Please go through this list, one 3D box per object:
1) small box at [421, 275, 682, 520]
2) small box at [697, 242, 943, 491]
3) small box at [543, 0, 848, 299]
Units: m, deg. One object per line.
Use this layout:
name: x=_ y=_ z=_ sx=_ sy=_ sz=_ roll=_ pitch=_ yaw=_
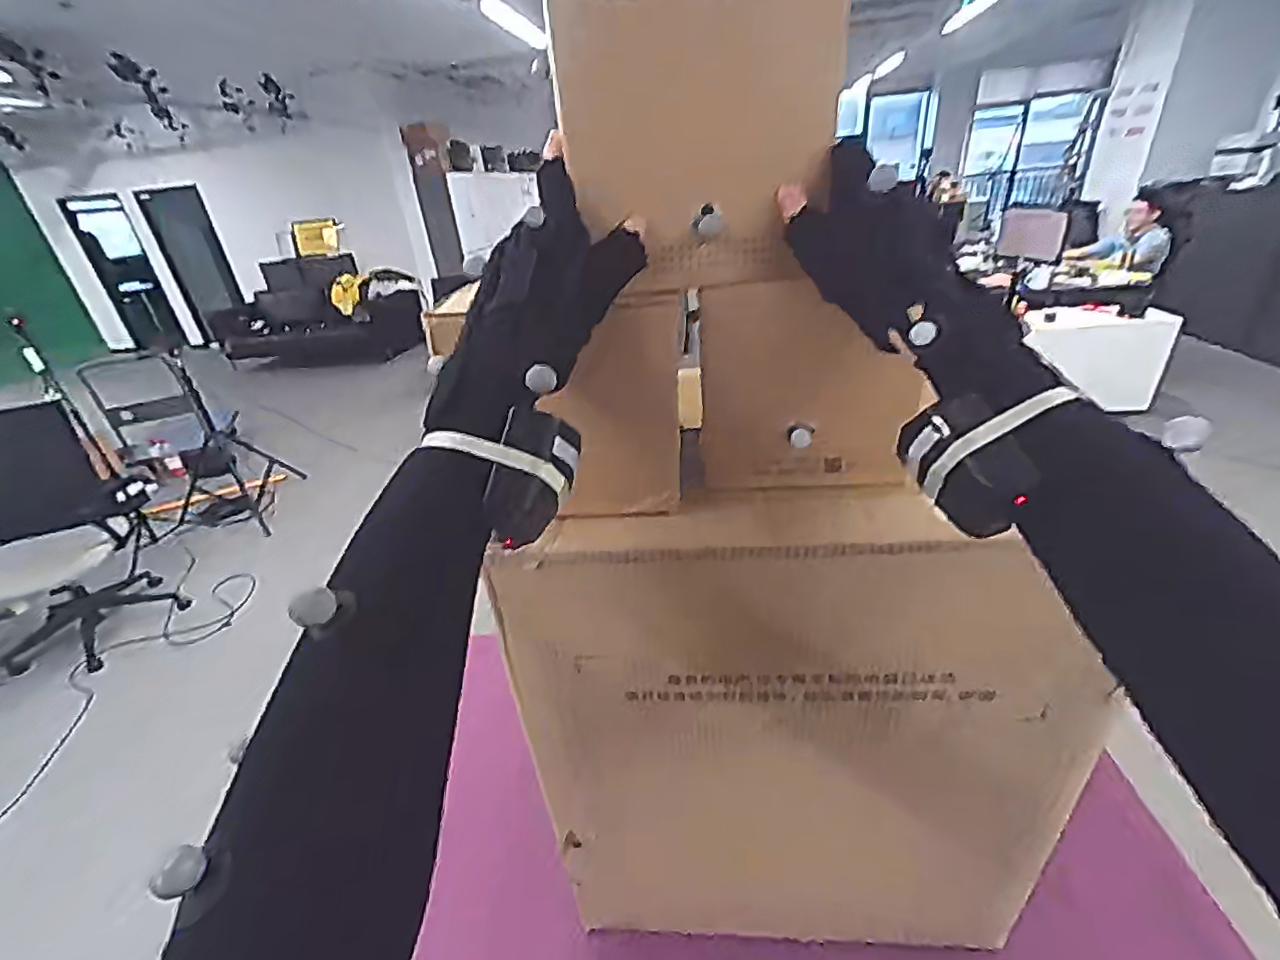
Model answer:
small box: x=-0.054 y=-0.077 z=0.465 sx=0.179 sy=0.176 sz=0.168 roll=0 pitch=29 yaw=5
small box: x=0.139 y=-0.105 z=0.480 sx=0.168 sy=0.176 sz=0.179 roll=-2 pitch=31 yaw=9
small box: x=0.030 y=-0.240 z=0.407 sx=0.179 sy=0.176 sz=0.168 roll=-7 pitch=29 yaw=-3
